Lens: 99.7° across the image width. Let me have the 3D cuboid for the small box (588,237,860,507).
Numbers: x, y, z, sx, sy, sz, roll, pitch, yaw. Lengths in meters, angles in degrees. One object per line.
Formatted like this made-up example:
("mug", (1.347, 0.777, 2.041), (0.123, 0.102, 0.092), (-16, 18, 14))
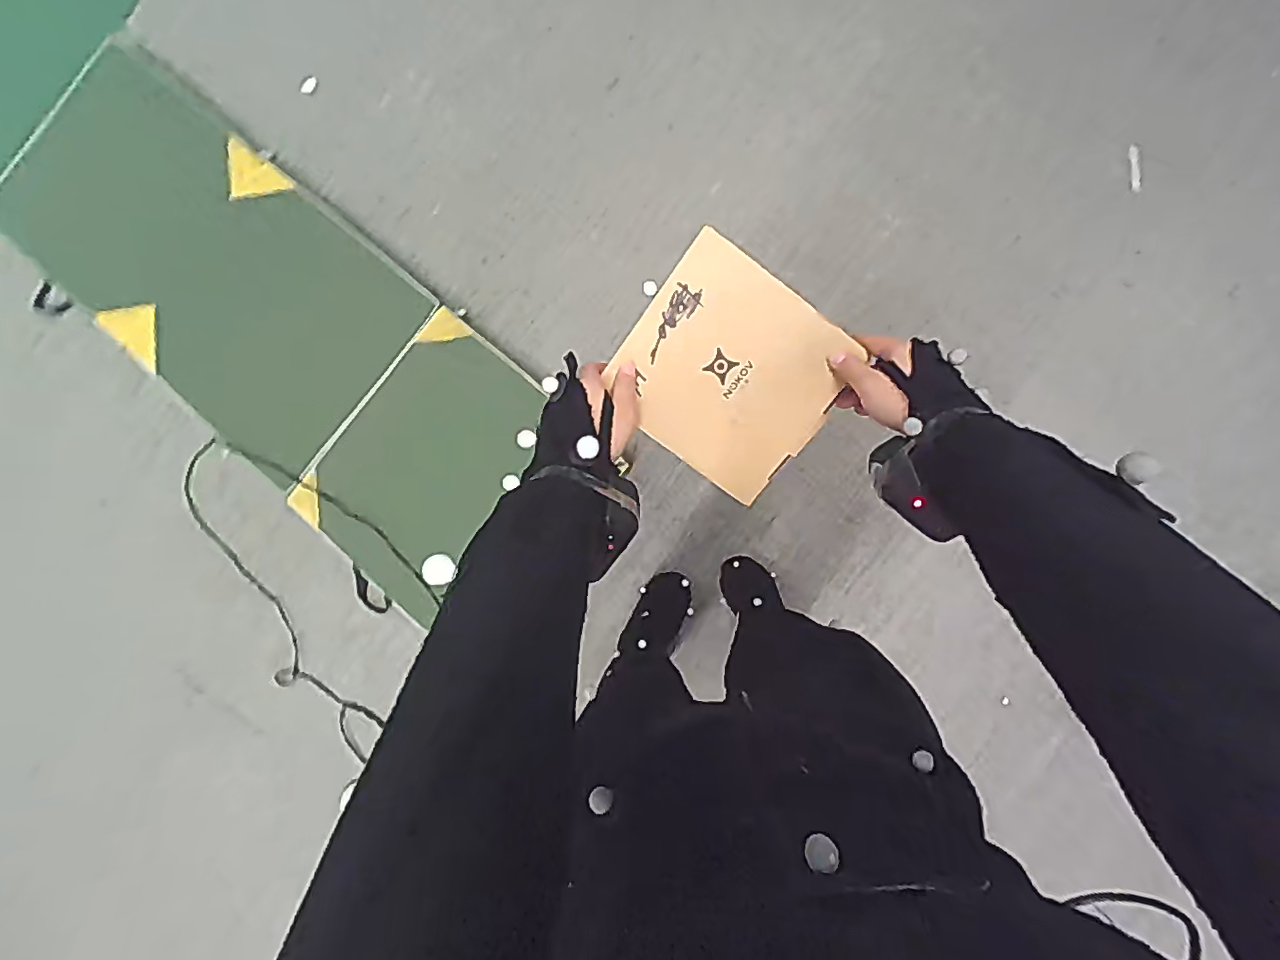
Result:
("small box", (0.073, -0.106, 0.537), (0.179, 0.176, 0.168), (36, 102, -6))
